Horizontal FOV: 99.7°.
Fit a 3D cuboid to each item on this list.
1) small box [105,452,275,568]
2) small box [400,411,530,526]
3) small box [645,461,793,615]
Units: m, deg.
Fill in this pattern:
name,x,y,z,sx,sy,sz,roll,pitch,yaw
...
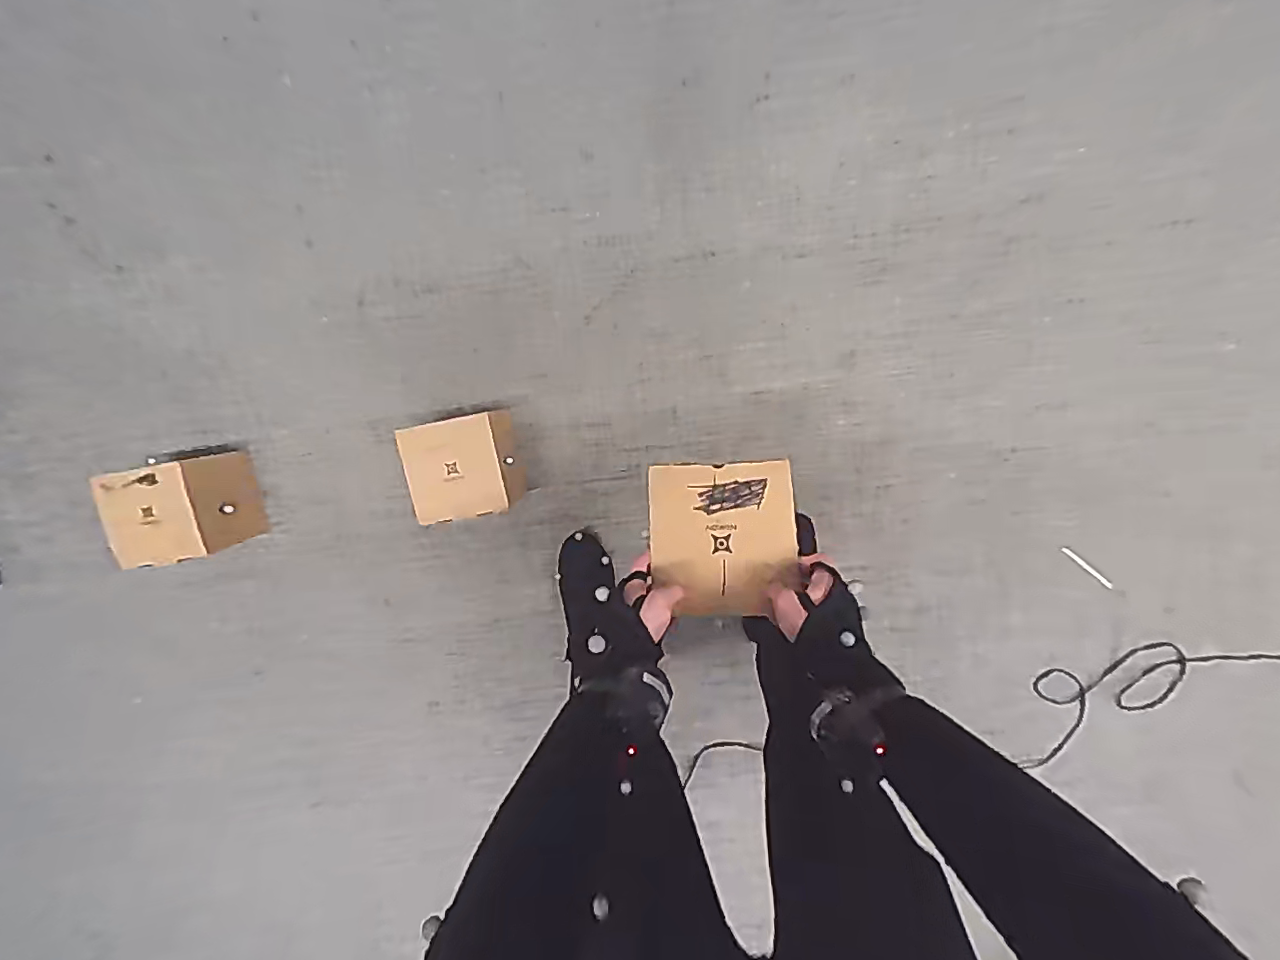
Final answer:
name,x,y,z,sx,sy,sz,roll,pitch,yaw
small box,-0.854,0.051,1.048,0.168,0.176,0.179,-9,100,2
small box,-0.318,-0.028,1.021,0.168,0.176,0.179,-11,98,2
small box,0.094,0.081,0.691,0.168,0.176,0.179,-2,77,6
